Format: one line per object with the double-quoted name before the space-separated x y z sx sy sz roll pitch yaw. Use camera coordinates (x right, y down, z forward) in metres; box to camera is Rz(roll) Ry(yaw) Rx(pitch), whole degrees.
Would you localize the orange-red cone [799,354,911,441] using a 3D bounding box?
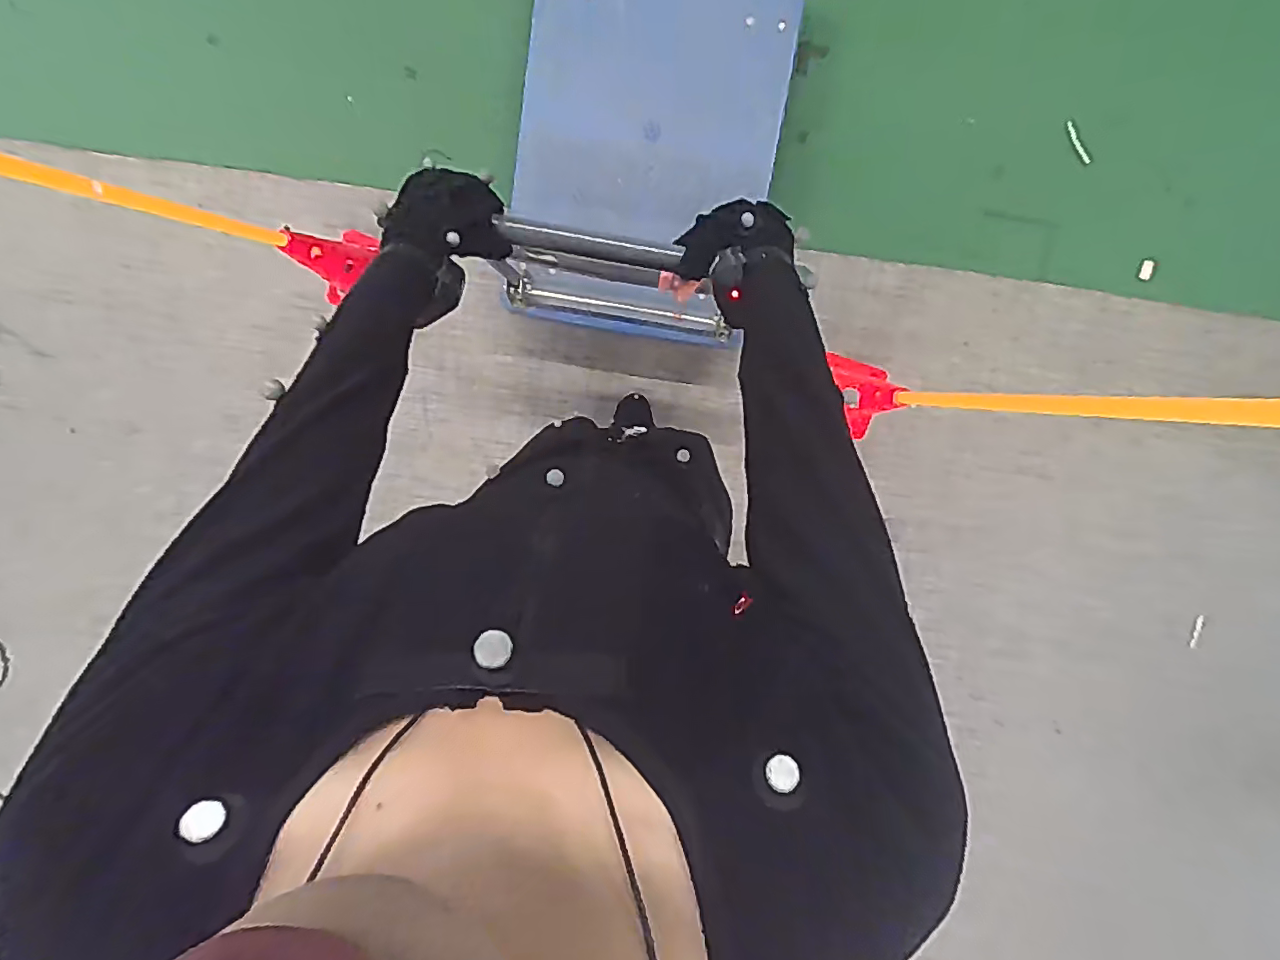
"orange-red cone" 0.544 -0.195 1.284 0.198 0.360 0.199 18 99 -2
